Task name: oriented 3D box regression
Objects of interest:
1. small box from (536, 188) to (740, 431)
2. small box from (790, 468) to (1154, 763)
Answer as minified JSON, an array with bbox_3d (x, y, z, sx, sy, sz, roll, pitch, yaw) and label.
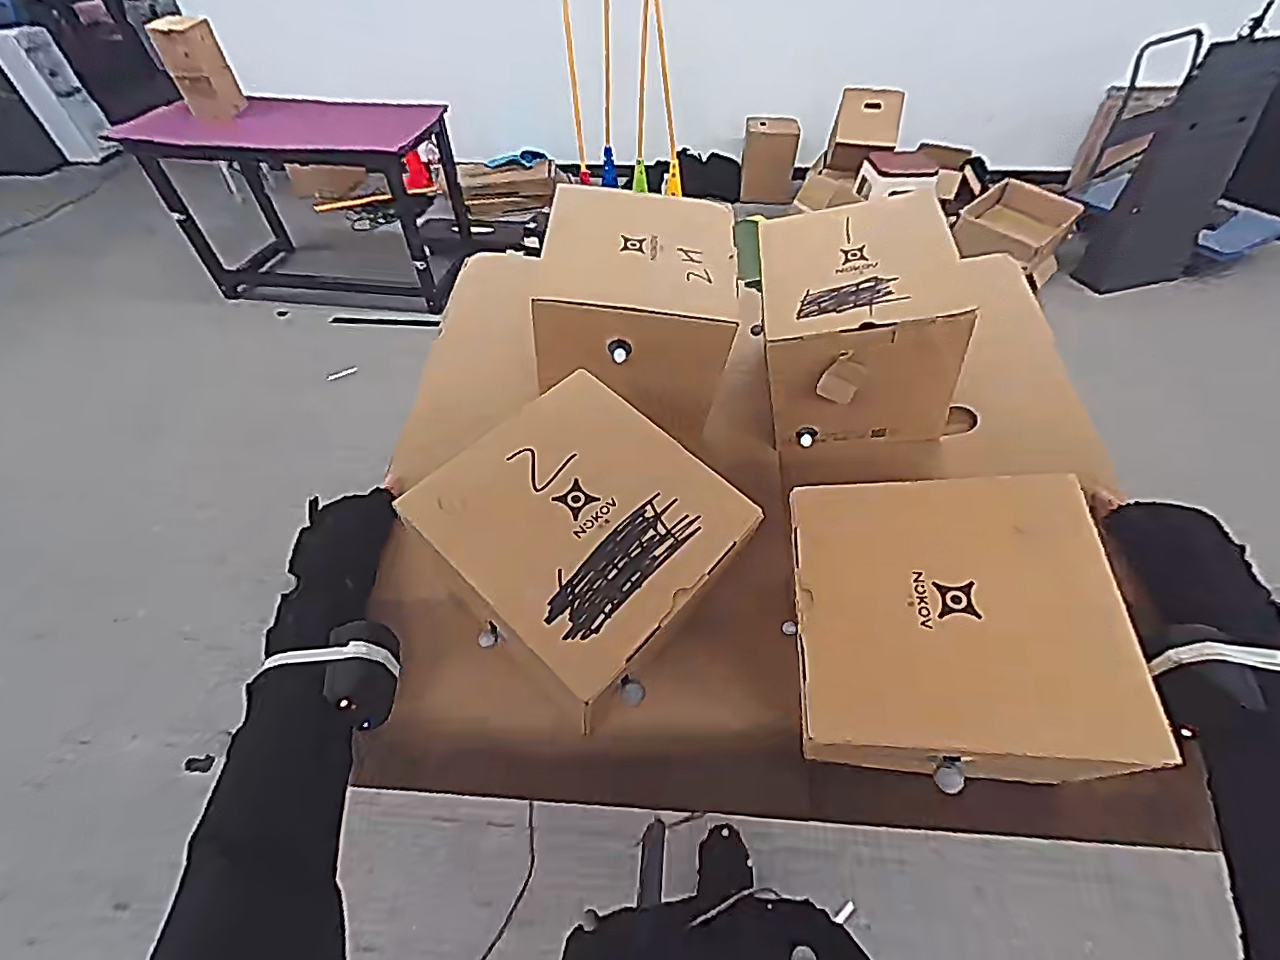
[{"bbox_3d":[-0.003,-0.167,0.561,0.179,0.176,0.168,6,59,-3],"label":"small box"},{"bbox_3d":[0.206,0.107,0.399,0.179,0.176,0.168,-4,58,17],"label":"small box"}]
